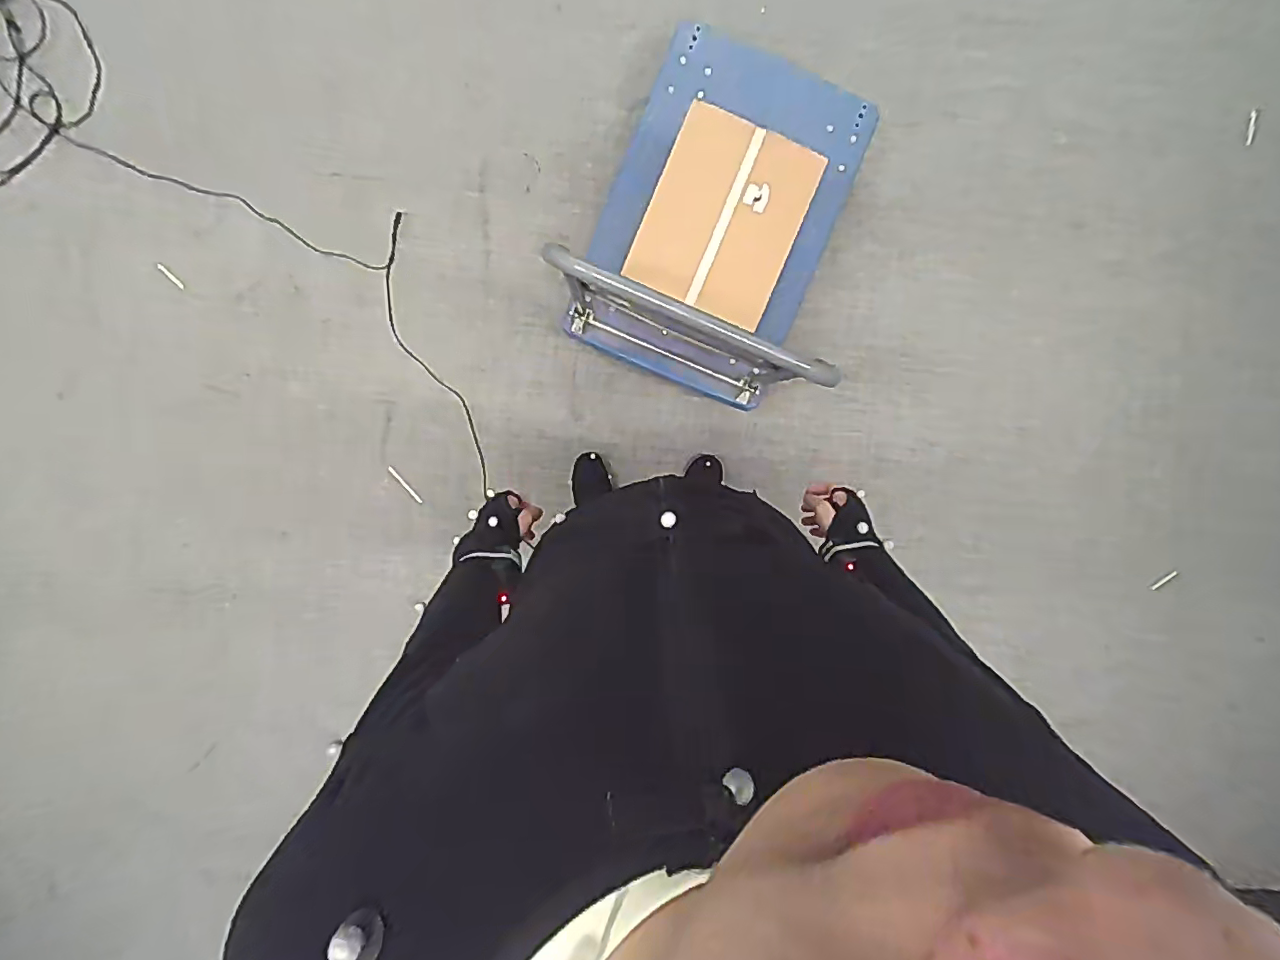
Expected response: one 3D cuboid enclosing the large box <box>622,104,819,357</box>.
[{"bbox_3d":[0.166,-0.559,1.298,0.320,0.320,0.408,23,91,-4],"label":"large box"}]
